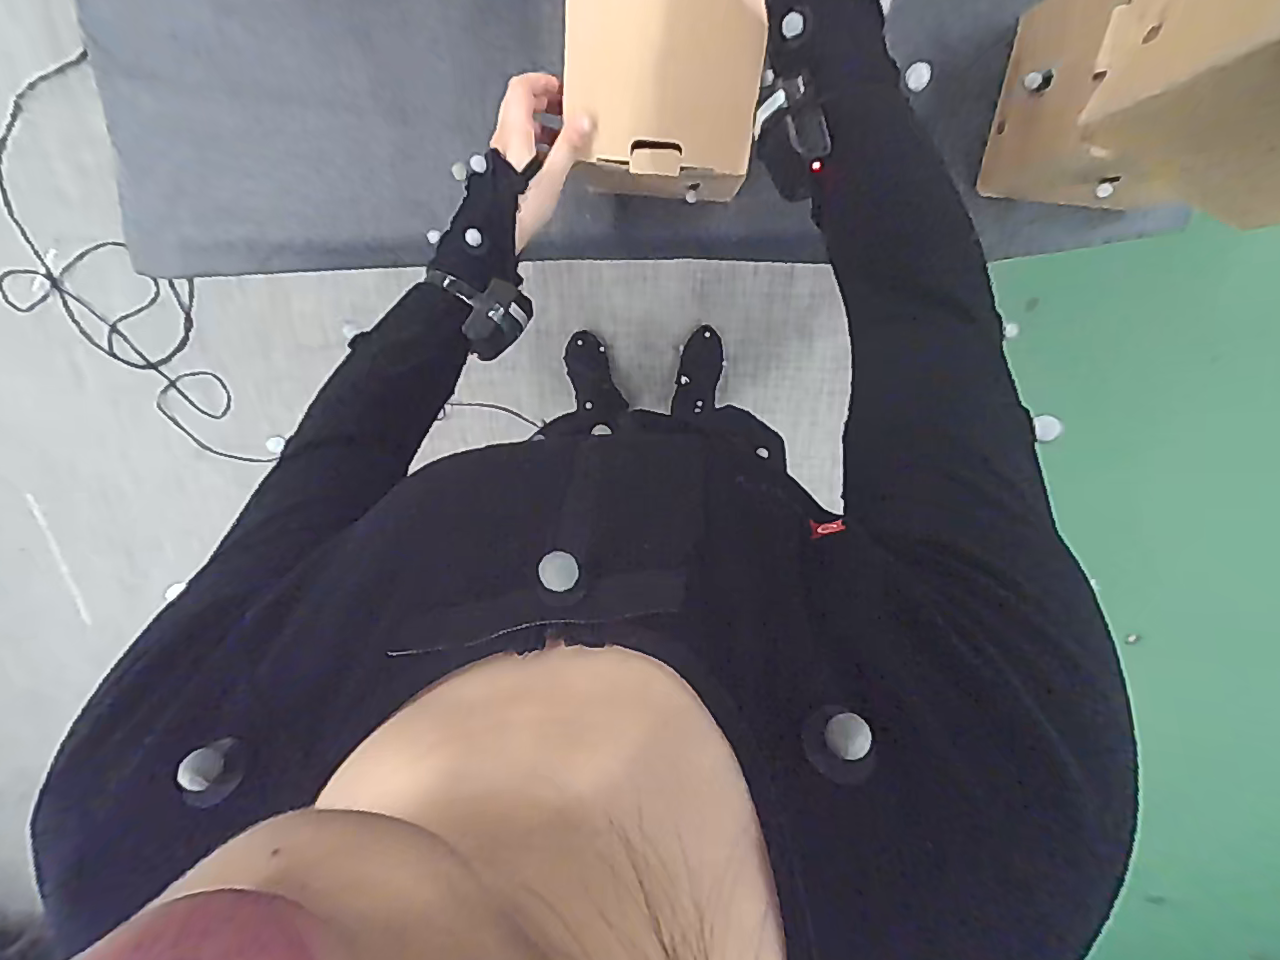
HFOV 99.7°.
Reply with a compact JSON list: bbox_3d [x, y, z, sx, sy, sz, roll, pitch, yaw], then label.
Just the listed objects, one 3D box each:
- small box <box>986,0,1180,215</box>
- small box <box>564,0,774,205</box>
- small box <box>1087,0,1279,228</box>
[{"bbox_3d":[0.464,-0.351,0.497,0.179,0.176,0.168,6,108,1],"label":"small box"},{"bbox_3d":[0.027,-0.372,0.516,0.168,0.176,0.179,5,110,2],"label":"small box"},{"bbox_3d":[0.459,-0.284,0.347,0.179,0.176,0.168,26,107,-7],"label":"small box"}]
